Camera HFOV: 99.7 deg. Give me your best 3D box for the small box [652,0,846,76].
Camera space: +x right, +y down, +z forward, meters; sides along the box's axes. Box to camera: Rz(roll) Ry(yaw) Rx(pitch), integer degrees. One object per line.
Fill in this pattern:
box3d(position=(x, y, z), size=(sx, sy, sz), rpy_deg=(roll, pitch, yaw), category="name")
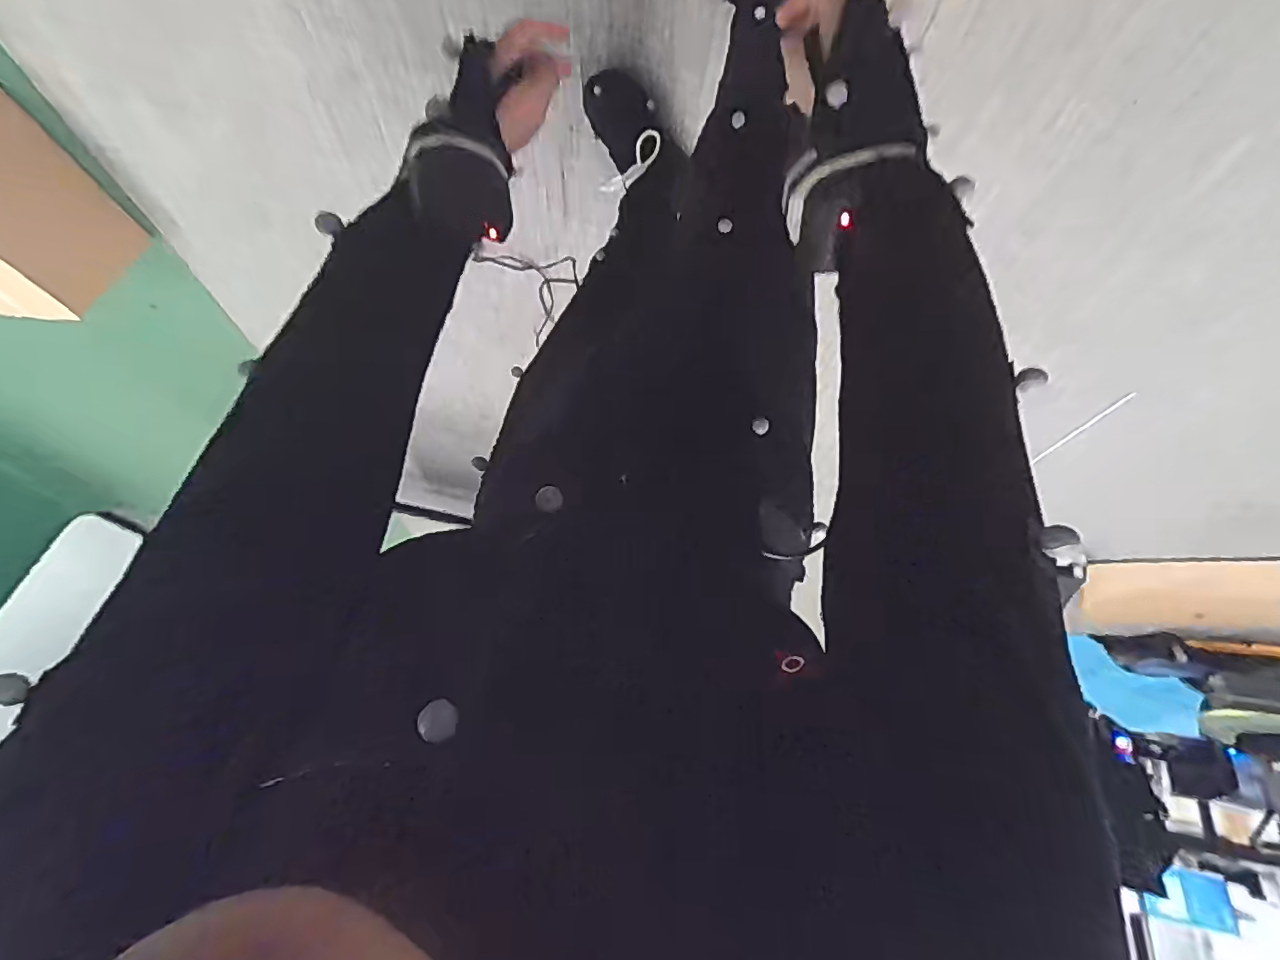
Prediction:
box3d(position=(0.142, -0.632, 0.649), size=(0.179, 0.168, 0.176), rpy_deg=(12, -172, -29), category="small box")
